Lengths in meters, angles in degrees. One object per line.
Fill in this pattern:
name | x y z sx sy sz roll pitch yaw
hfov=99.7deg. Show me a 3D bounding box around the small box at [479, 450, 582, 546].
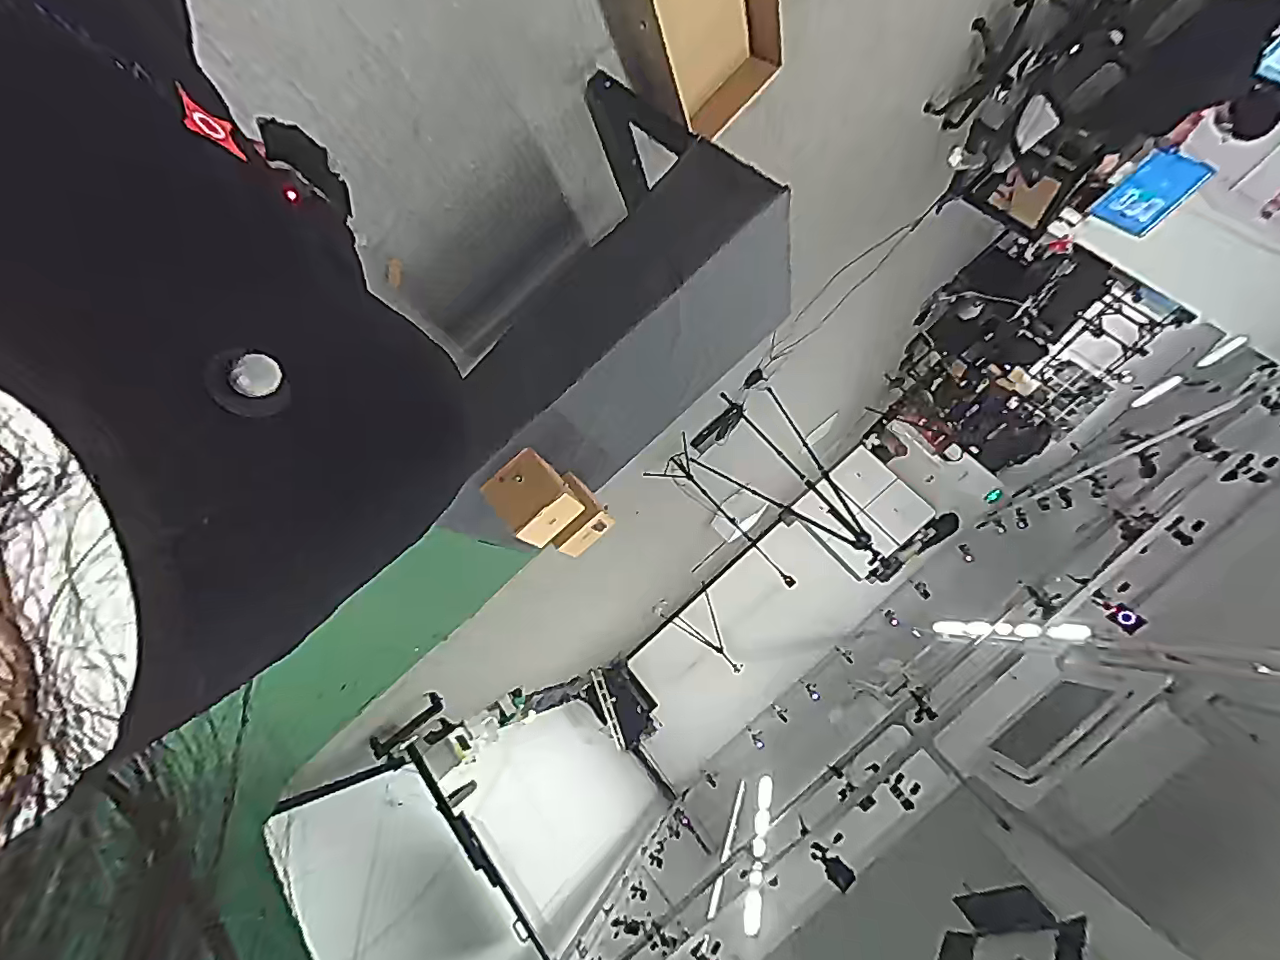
small box | -0.284 0.046 1.418 0.168 0.176 0.179 -42 160 -3
